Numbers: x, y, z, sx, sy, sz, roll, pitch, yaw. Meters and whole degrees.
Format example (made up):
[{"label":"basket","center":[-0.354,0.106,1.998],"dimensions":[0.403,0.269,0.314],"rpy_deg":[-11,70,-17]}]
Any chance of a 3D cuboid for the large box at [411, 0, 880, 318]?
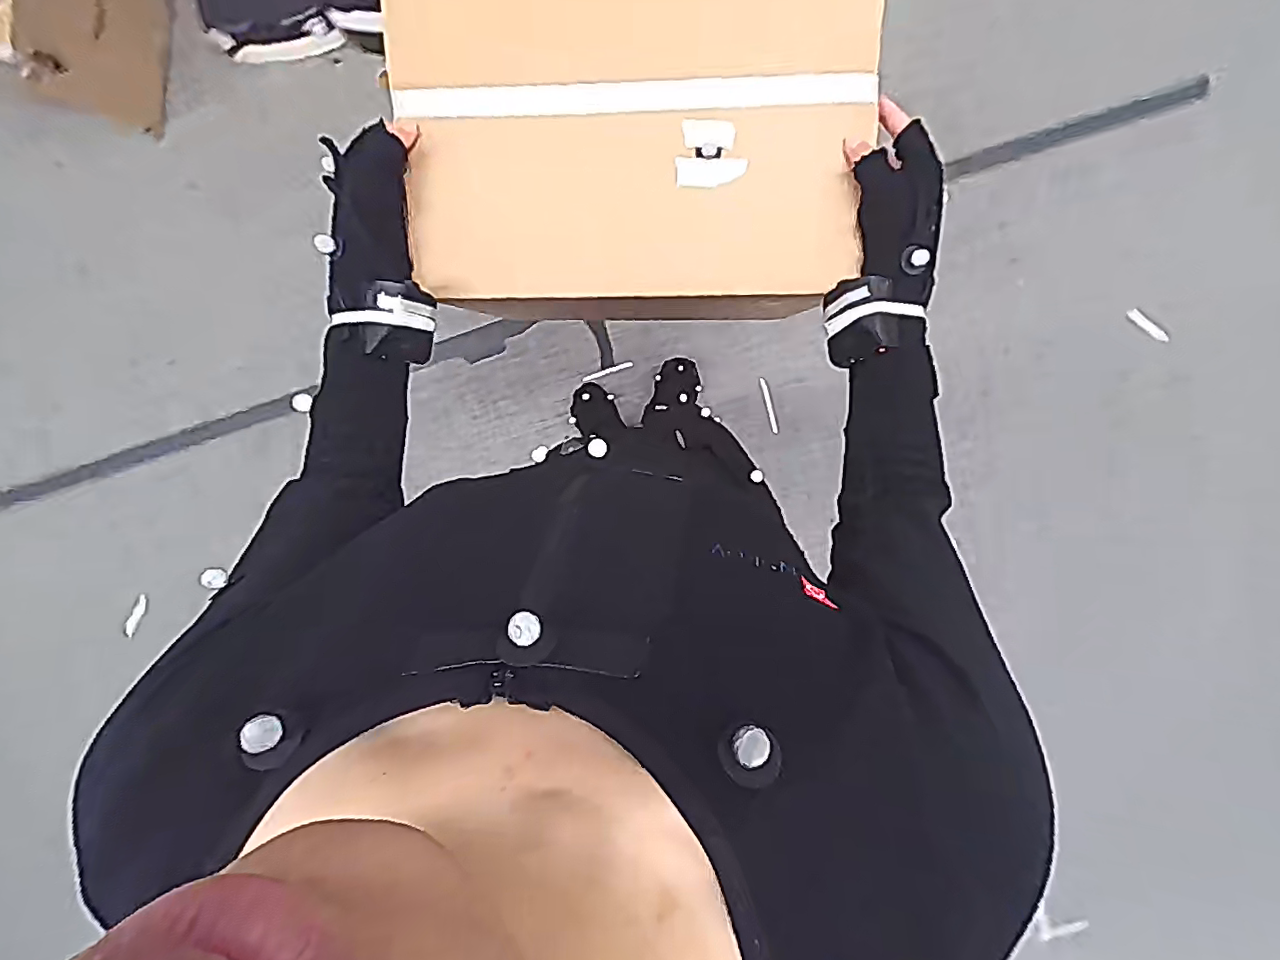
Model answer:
[{"label":"large box","center":[0.006,-0.360,0.617],"dimensions":[0.408,0.320,0.320],"rpy_deg":[1,103,2]}]
